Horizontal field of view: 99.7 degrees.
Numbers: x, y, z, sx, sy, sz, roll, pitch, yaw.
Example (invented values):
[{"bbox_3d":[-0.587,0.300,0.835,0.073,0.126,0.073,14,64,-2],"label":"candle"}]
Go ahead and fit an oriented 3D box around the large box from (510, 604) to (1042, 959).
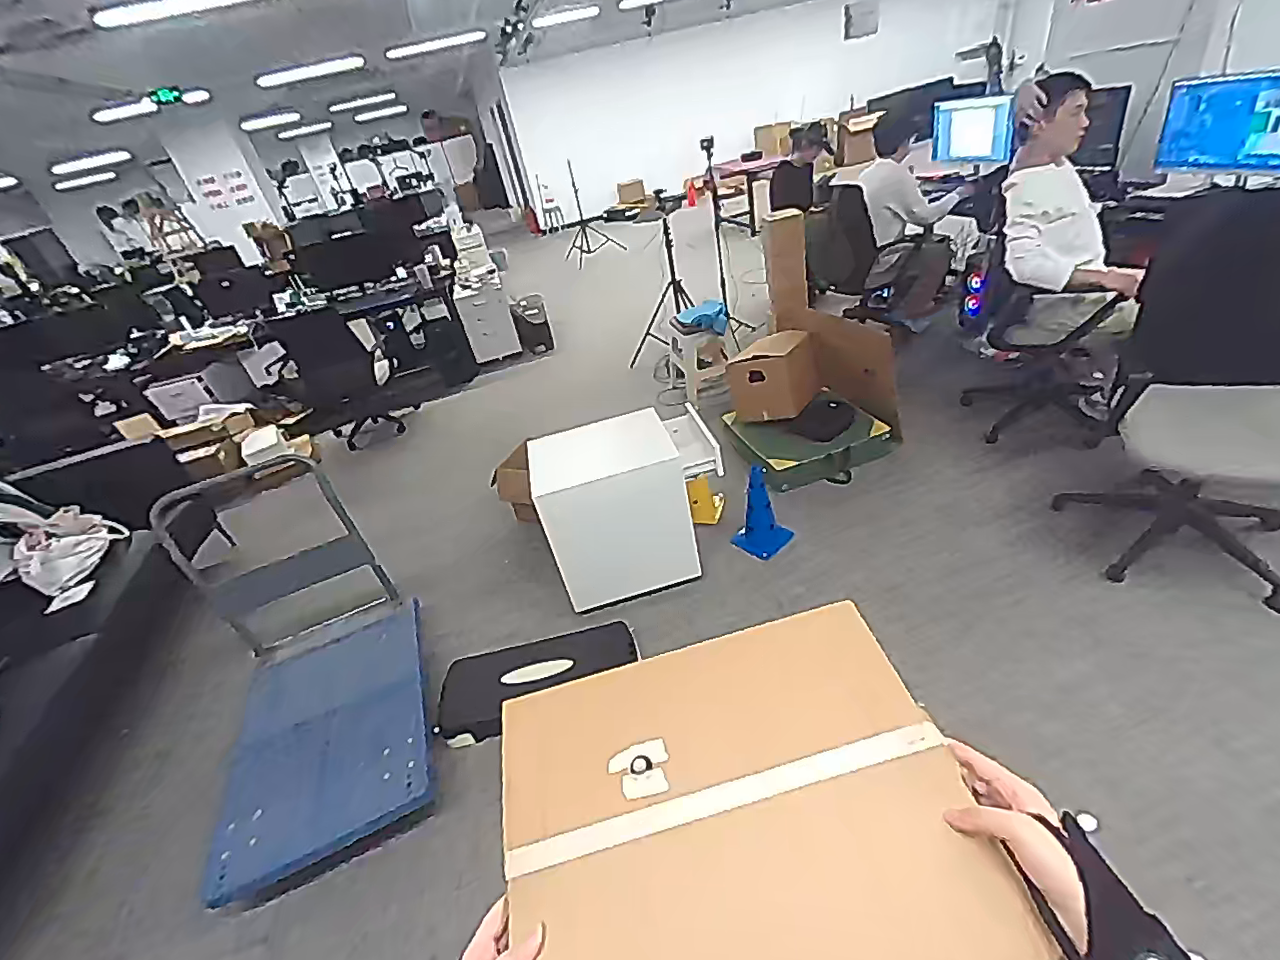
[{"bbox_3d":[0.110,0.401,0.600,0.408,0.320,0.320,-18,42,0],"label":"large box"}]
